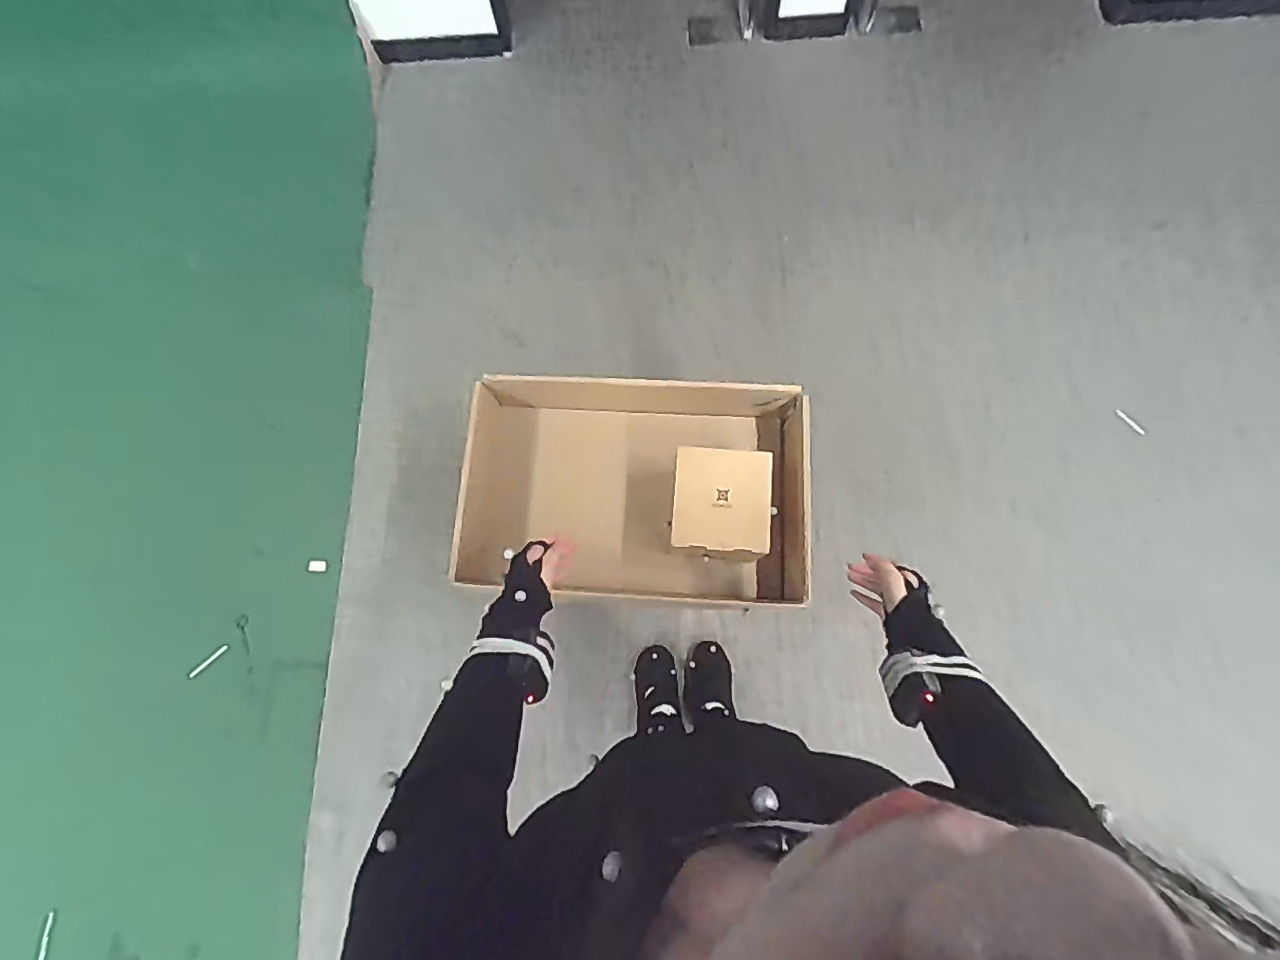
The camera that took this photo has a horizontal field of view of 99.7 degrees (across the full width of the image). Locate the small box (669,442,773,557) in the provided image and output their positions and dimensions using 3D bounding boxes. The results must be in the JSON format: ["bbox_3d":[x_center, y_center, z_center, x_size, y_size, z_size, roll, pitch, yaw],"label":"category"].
[{"bbox_3d":[0.142,0.041,0.987,0.168,0.176,0.179,4,78,3],"label":"small box"}]
